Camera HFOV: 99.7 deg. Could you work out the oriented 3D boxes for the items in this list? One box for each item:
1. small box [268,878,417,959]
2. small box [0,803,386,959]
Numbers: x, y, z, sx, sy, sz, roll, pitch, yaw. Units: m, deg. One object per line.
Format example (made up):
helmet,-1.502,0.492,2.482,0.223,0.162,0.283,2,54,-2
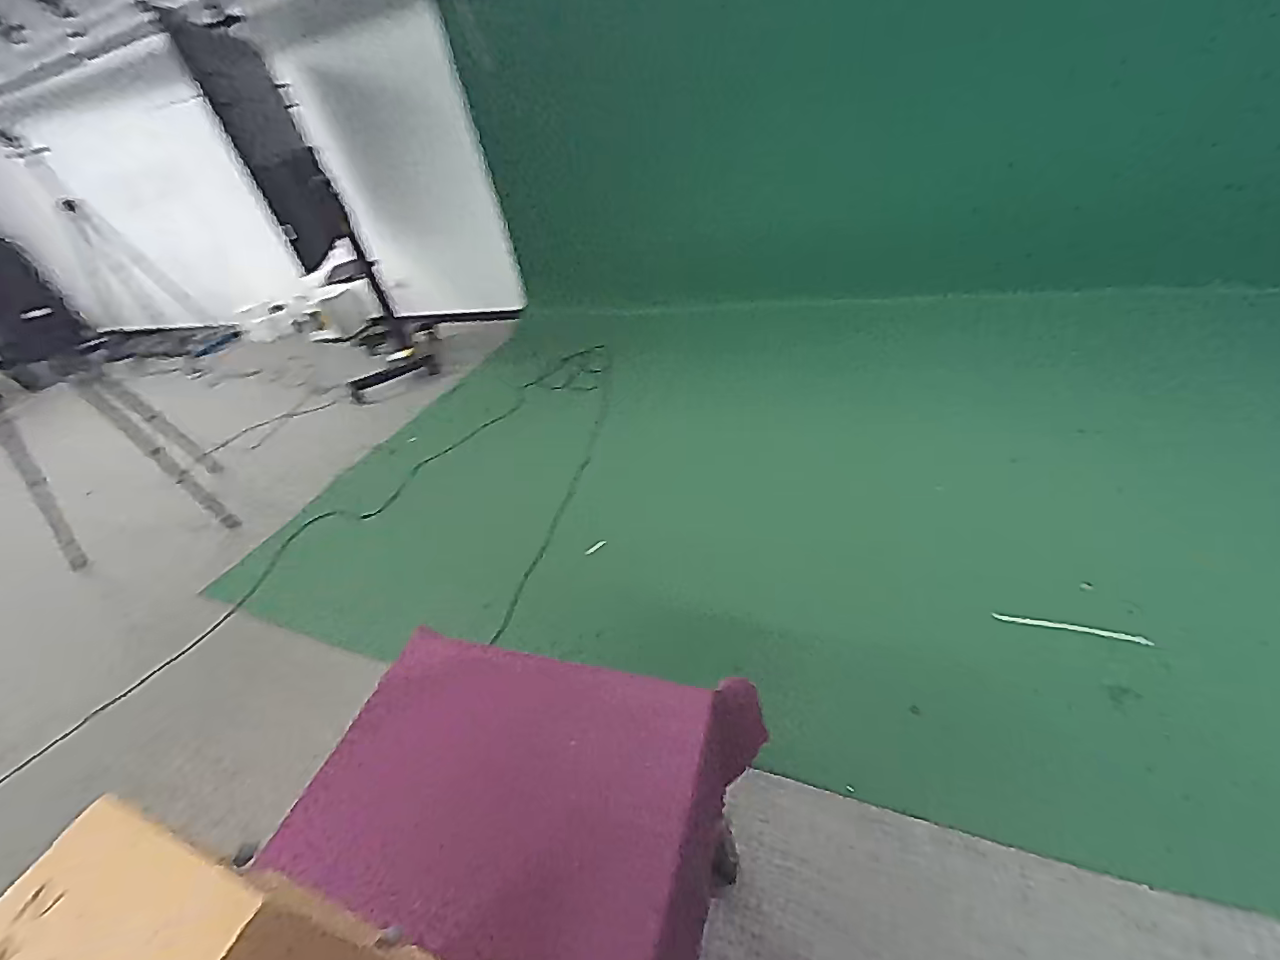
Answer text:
small box,-0.258,0.460,0.421,0.179,0.176,0.168,7,42,25
small box,-0.290,0.334,0.319,0.179,0.176,0.168,5,41,25
